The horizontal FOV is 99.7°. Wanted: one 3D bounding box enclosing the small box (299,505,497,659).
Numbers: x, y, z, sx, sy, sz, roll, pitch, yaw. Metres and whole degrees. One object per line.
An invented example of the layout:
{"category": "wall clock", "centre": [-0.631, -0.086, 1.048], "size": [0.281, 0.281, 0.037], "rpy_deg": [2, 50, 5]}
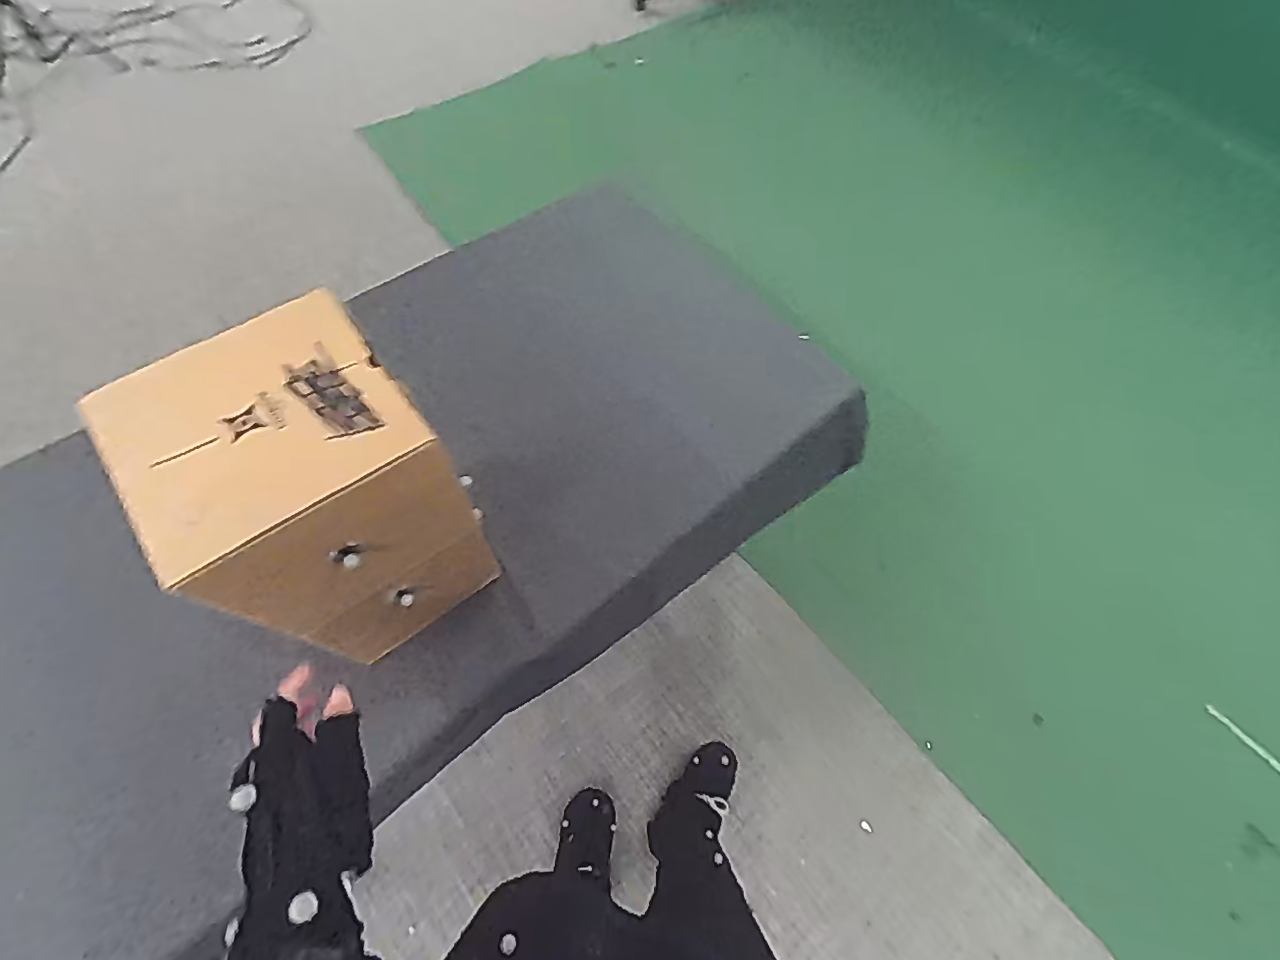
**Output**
{"category": "small box", "centre": [-0.280, 0.070, 0.588], "size": [0.179, 0.176, 0.168], "rpy_deg": [-36, 72, -20]}

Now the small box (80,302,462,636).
{"category": "small box", "centre": [-0.266, 0.000, 0.439], "size": [0.179, 0.176, 0.168], "rpy_deg": [-36, 71, -18]}
